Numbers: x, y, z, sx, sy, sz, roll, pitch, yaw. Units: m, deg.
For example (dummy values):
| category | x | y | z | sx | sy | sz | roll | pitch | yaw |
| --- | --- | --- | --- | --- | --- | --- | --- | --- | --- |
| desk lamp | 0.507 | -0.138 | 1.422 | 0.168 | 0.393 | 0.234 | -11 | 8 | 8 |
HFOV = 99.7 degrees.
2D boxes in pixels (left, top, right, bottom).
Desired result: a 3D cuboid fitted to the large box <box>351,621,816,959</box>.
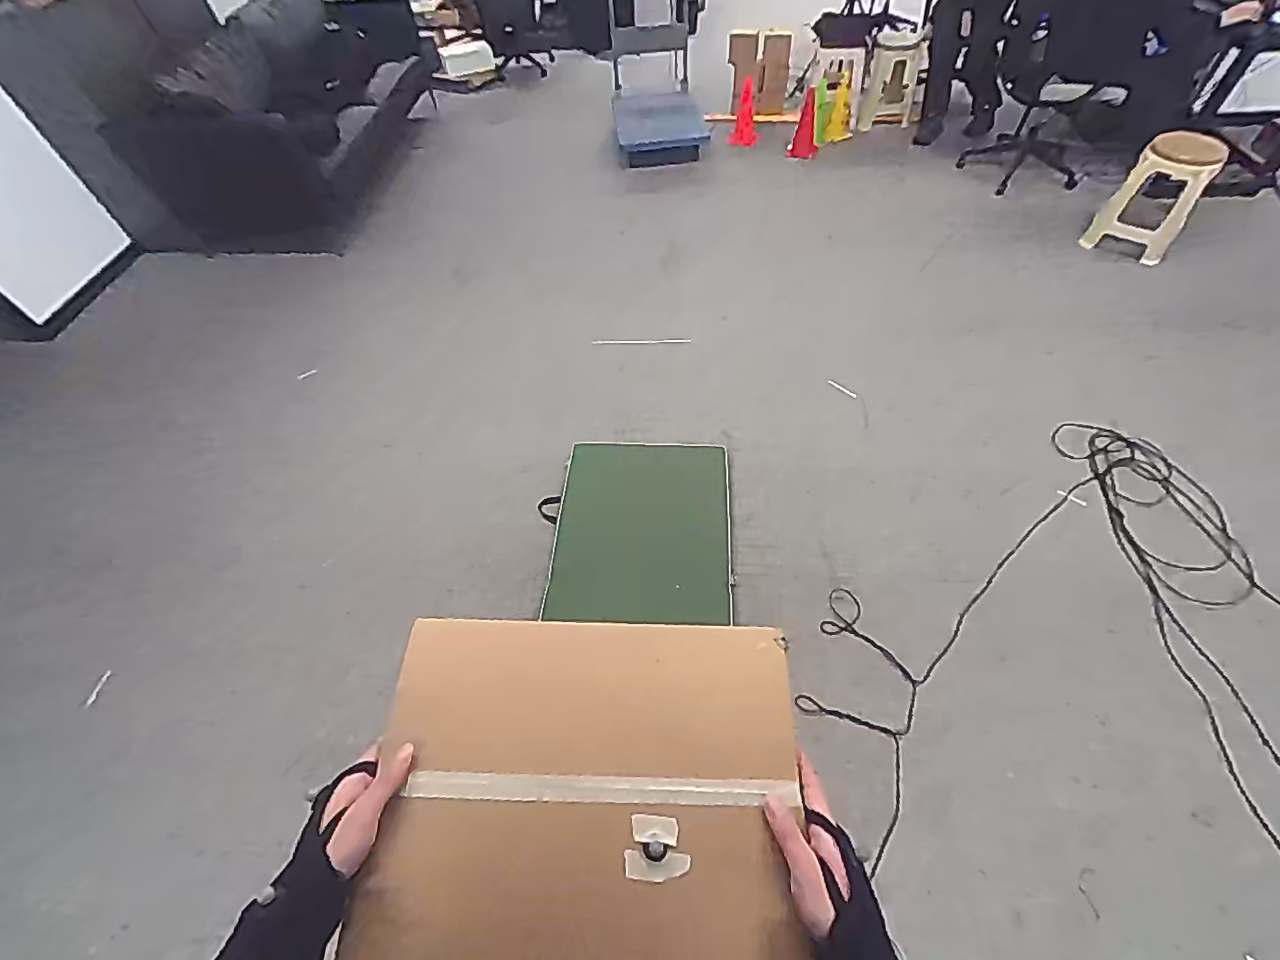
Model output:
| category | x | y | z | sx | sy | sz | roll | pitch | yaw |
| --- | --- | --- | --- | --- | --- | --- | --- | --- | --- |
| large box | -0.049 | 0.370 | 0.655 | 0.408 | 0.320 | 0.320 | 1 | 60 | 1 |
